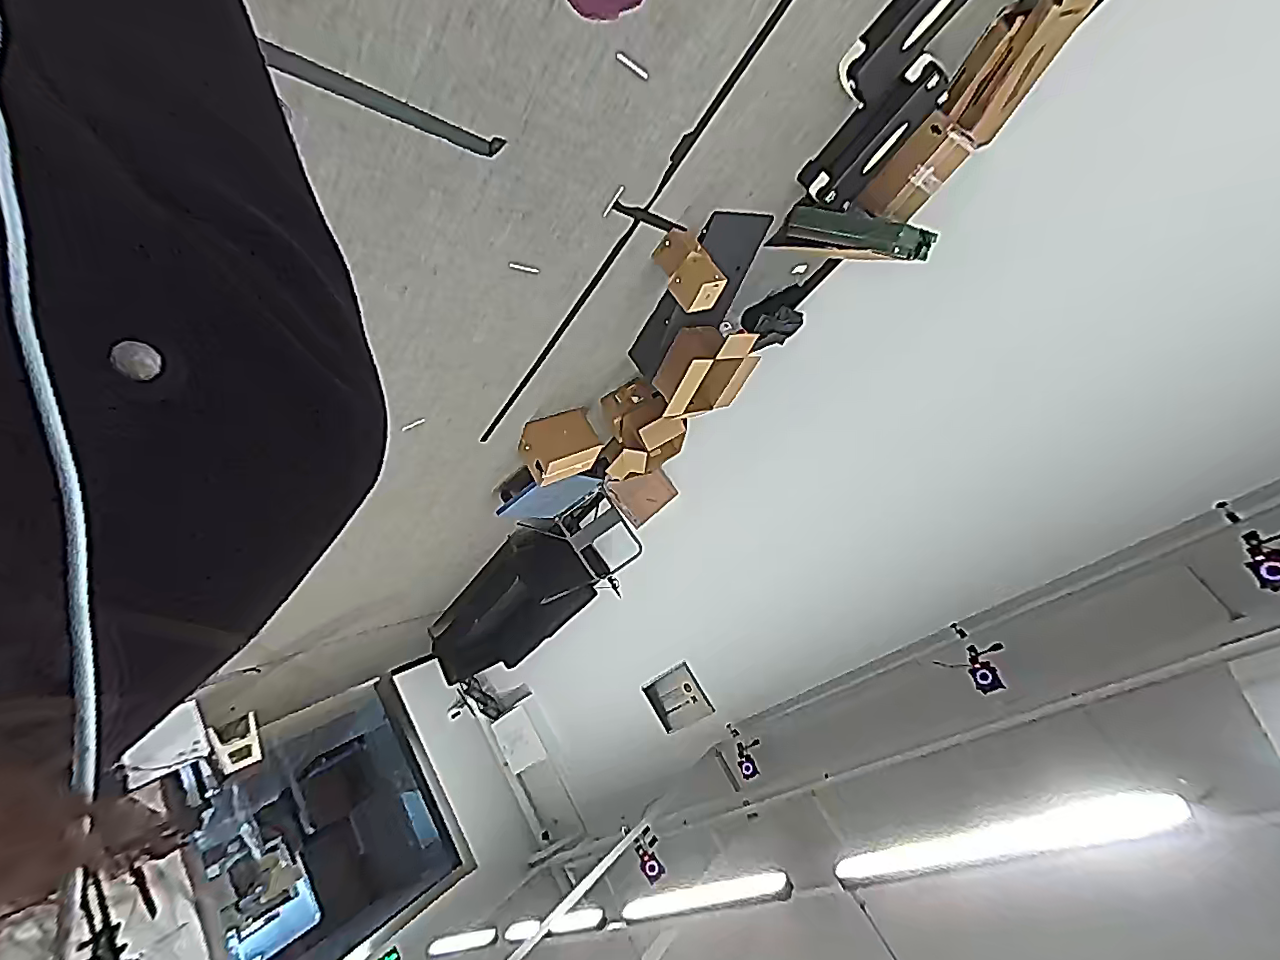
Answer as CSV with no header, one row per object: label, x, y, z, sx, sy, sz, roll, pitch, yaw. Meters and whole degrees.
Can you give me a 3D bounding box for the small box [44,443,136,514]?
small box,-1.835,-0.011,1.800,0.168,0.176,0.179,-42,164,27
